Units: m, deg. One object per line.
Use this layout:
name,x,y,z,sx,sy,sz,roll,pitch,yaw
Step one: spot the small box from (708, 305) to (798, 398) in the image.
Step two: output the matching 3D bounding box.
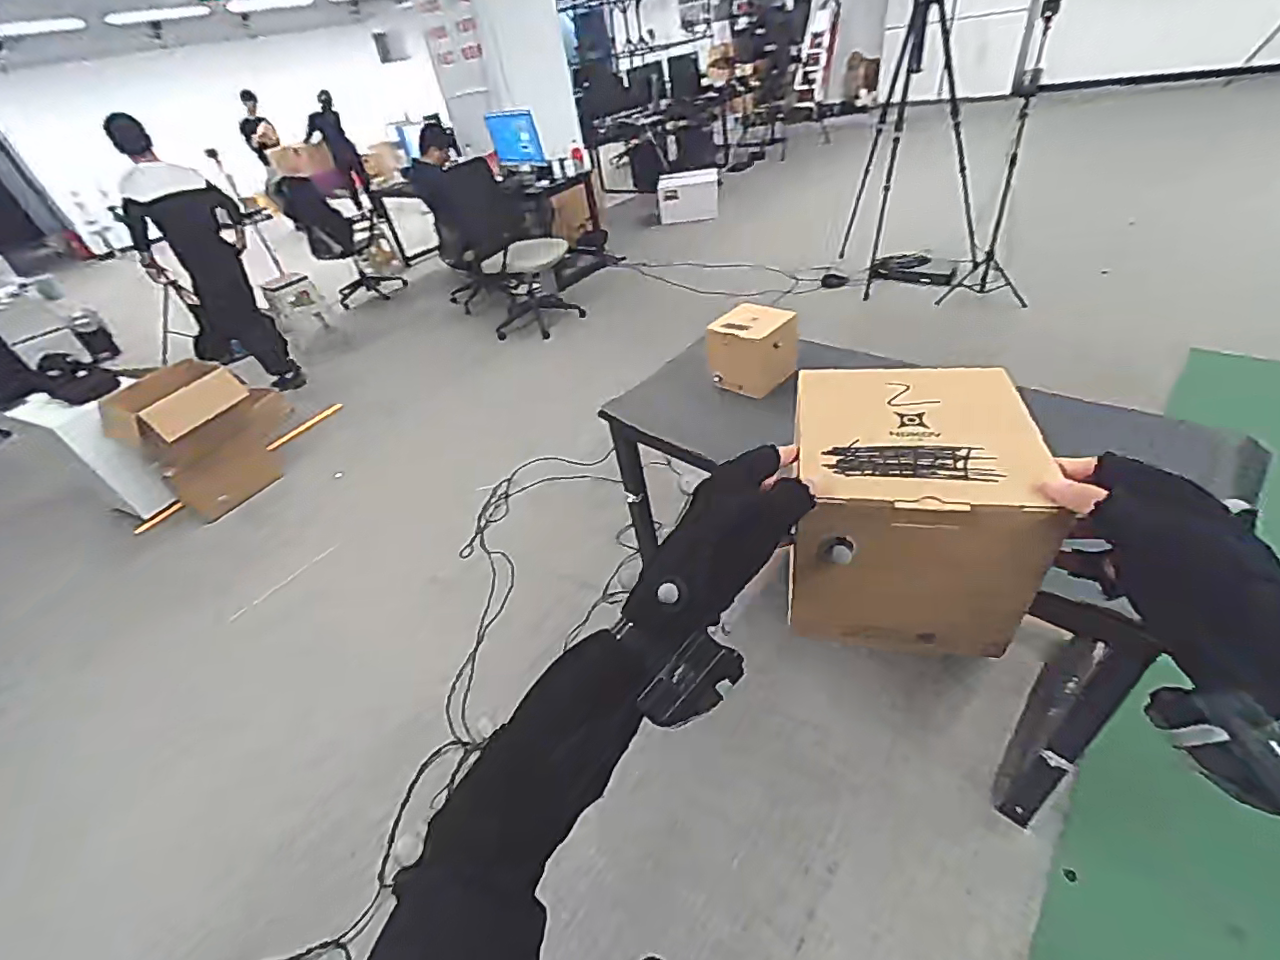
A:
small box,0.303,-0.340,1.434,0.168,0.176,0.179,26,51,37
